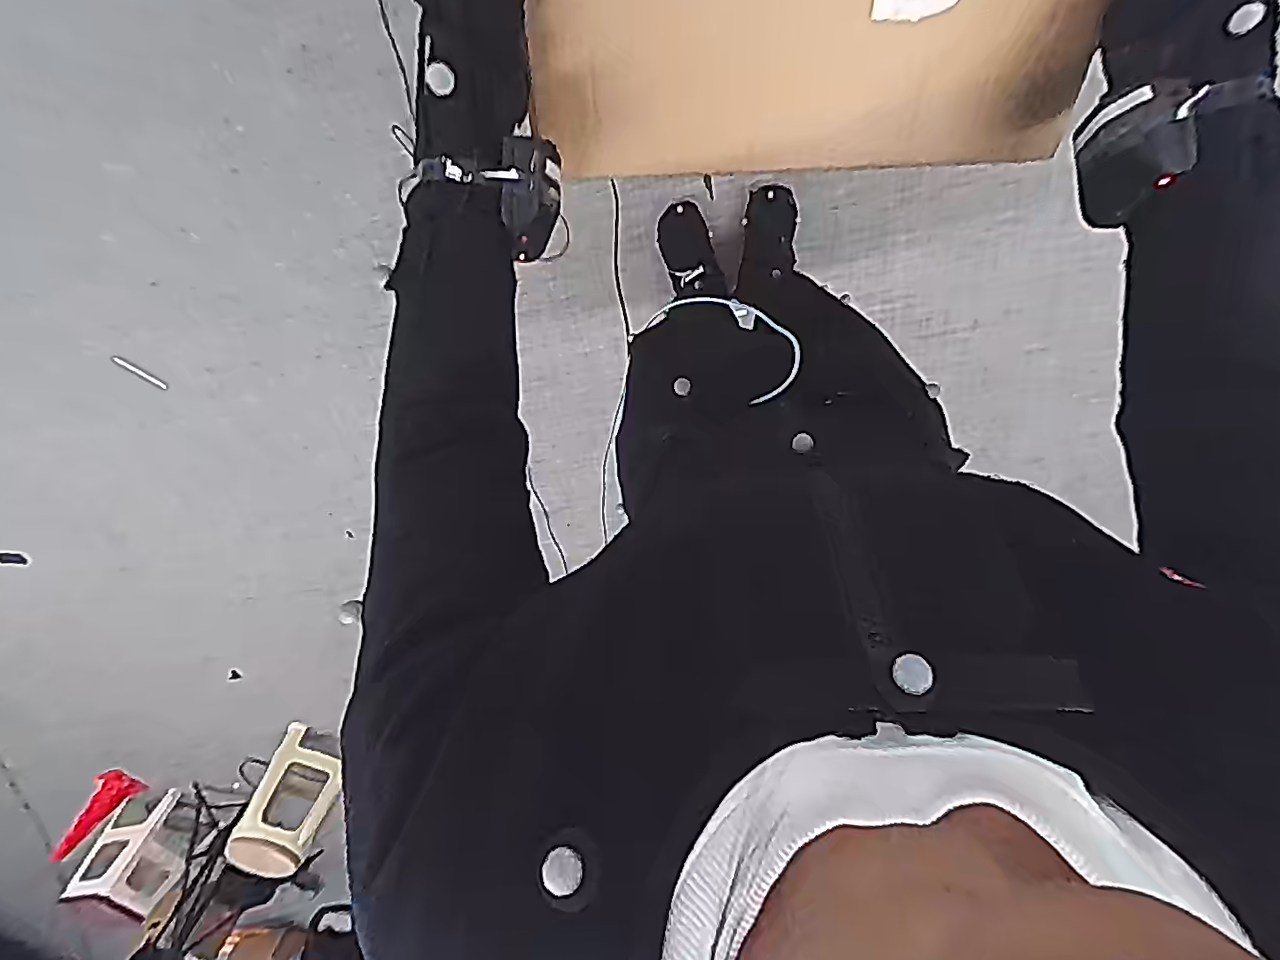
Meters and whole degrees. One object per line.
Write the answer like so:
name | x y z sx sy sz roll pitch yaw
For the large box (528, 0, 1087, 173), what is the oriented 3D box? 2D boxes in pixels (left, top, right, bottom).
large box | 0.112 -0.472 0.466 0.408 0.320 0.320 -3 127 0
